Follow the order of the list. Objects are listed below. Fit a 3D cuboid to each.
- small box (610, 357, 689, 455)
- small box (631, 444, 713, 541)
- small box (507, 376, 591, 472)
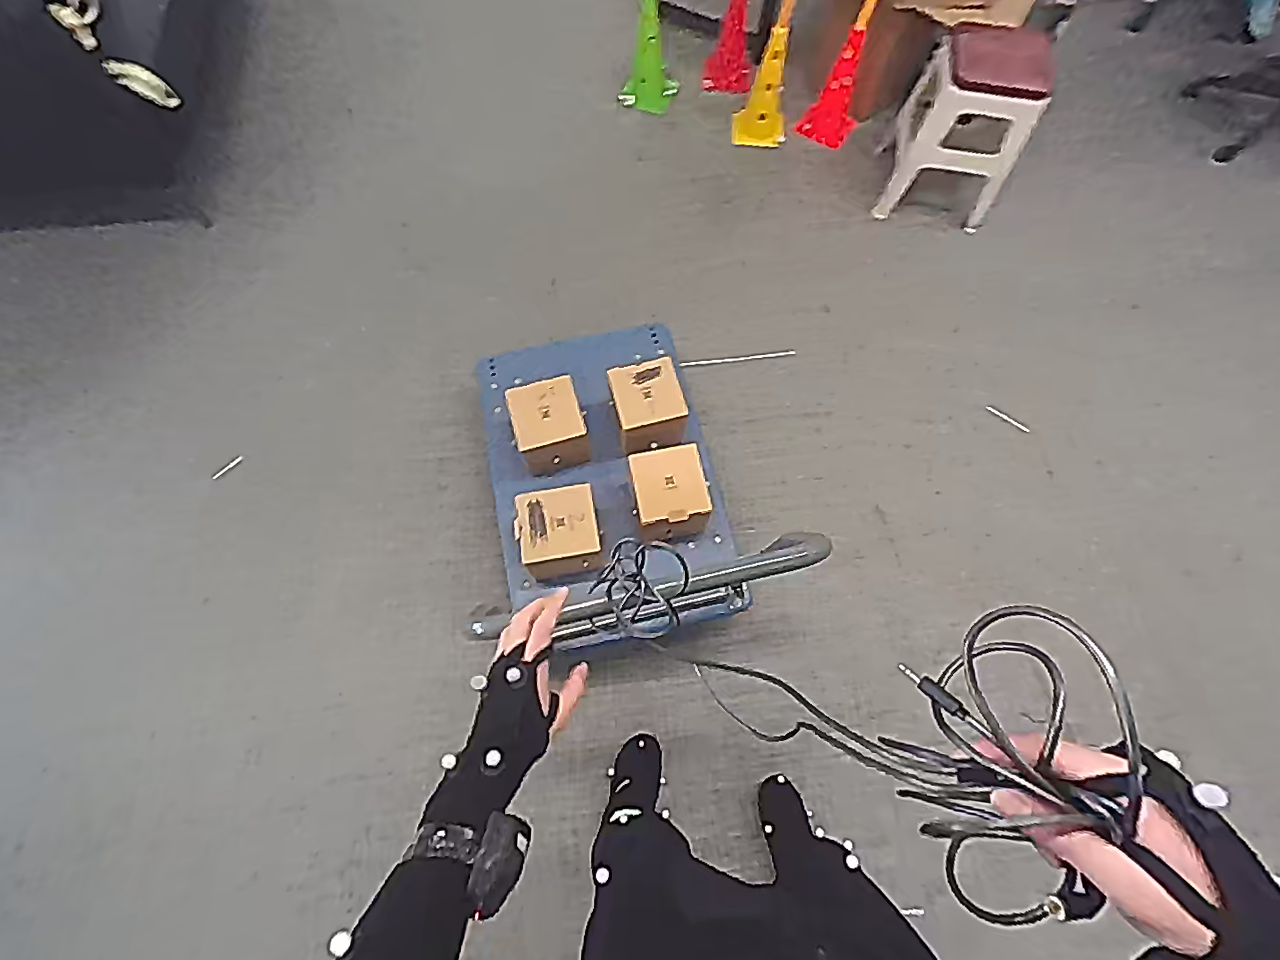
[{"bbox_3d":[0.021,-0.188,1.410,0.168,0.176,0.179,-14,71,-4],"label":"small box"},{"bbox_3d":[0.071,0.036,1.326,0.168,0.176,0.179,-11,70,-4],"label":"small box"},{"bbox_3d":[-0.228,-0.135,1.390,0.168,0.176,0.179,-15,70,-7],"label":"small box"}]
